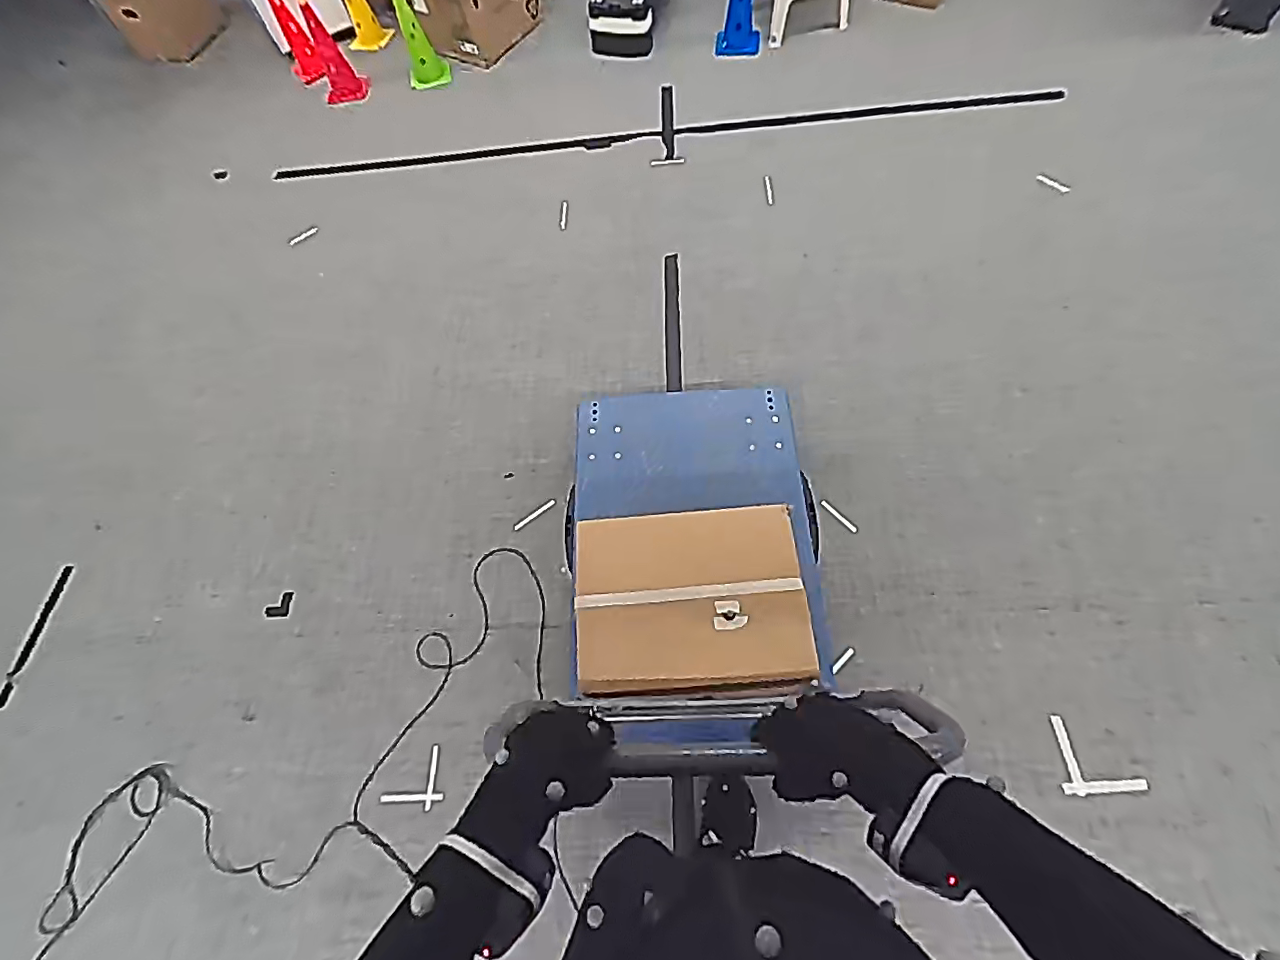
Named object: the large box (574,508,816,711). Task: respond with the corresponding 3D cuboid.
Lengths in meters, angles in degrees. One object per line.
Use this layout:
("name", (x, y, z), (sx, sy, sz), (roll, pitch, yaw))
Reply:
("large box", (0.092, 0.275, 1.088), (0.408, 0.320, 0.320), (-5, 64, 2))
